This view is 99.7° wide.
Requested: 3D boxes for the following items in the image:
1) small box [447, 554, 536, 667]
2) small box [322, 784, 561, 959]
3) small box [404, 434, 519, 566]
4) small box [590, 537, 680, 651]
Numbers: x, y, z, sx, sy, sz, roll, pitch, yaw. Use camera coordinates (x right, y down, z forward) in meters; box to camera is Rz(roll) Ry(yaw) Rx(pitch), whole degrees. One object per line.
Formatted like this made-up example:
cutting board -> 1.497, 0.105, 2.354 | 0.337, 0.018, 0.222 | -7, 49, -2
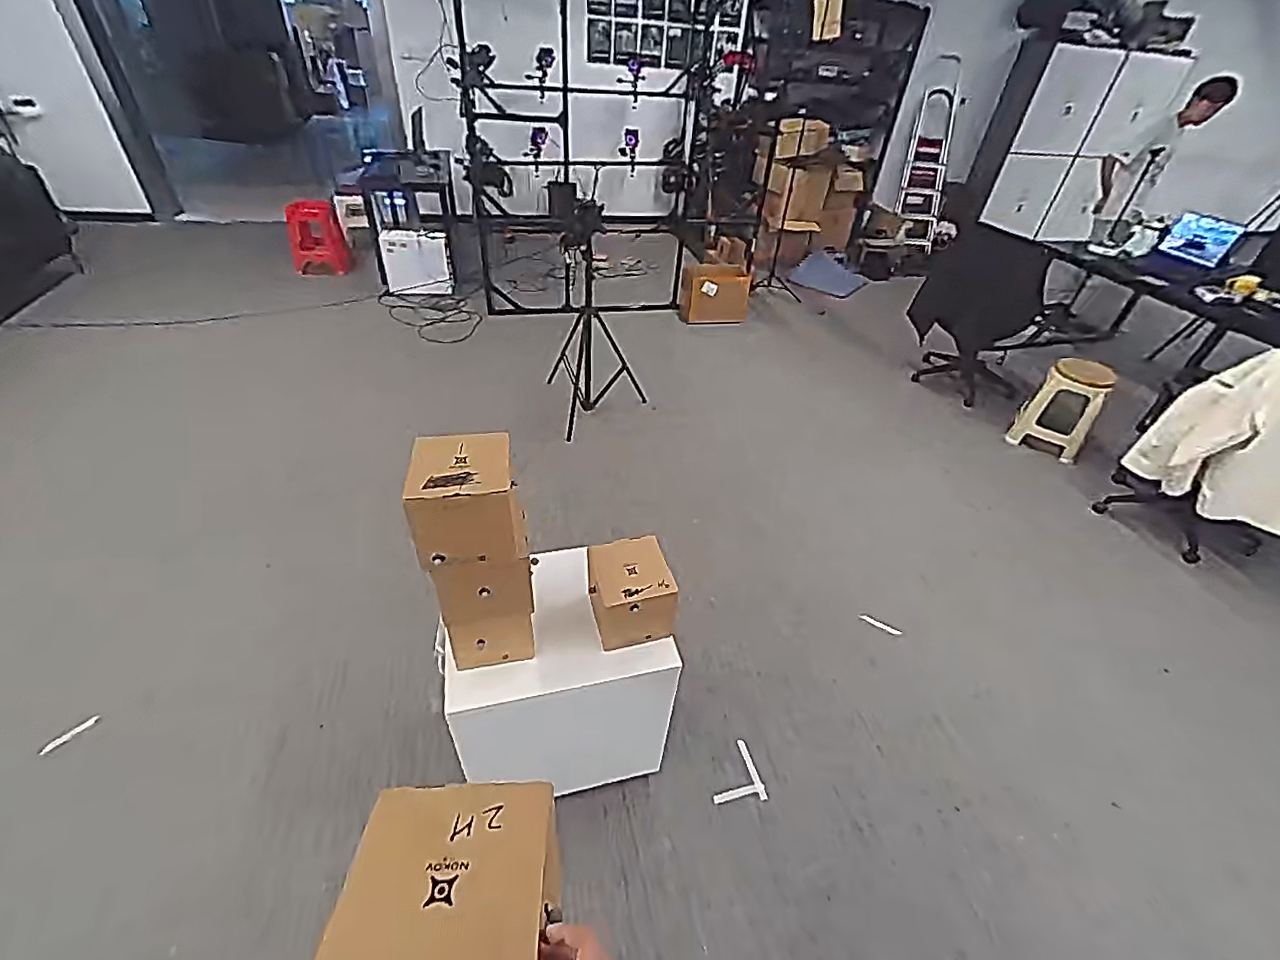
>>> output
small box -> -0.321, 0.289, 1.179 | 0.168, 0.176, 0.179 | -6, 40, -13
small box -> -0.160, 0.408, 0.483 | 0.168, 0.176, 0.179 | 1, 24, -4
small box -> -0.306, 0.040, 0.964 | 0.168, 0.176, 0.179 | -4, 39, -10
small box -> -0.019, 0.260, 1.240 | 0.168, 0.176, 0.179 | -9, 41, -14
